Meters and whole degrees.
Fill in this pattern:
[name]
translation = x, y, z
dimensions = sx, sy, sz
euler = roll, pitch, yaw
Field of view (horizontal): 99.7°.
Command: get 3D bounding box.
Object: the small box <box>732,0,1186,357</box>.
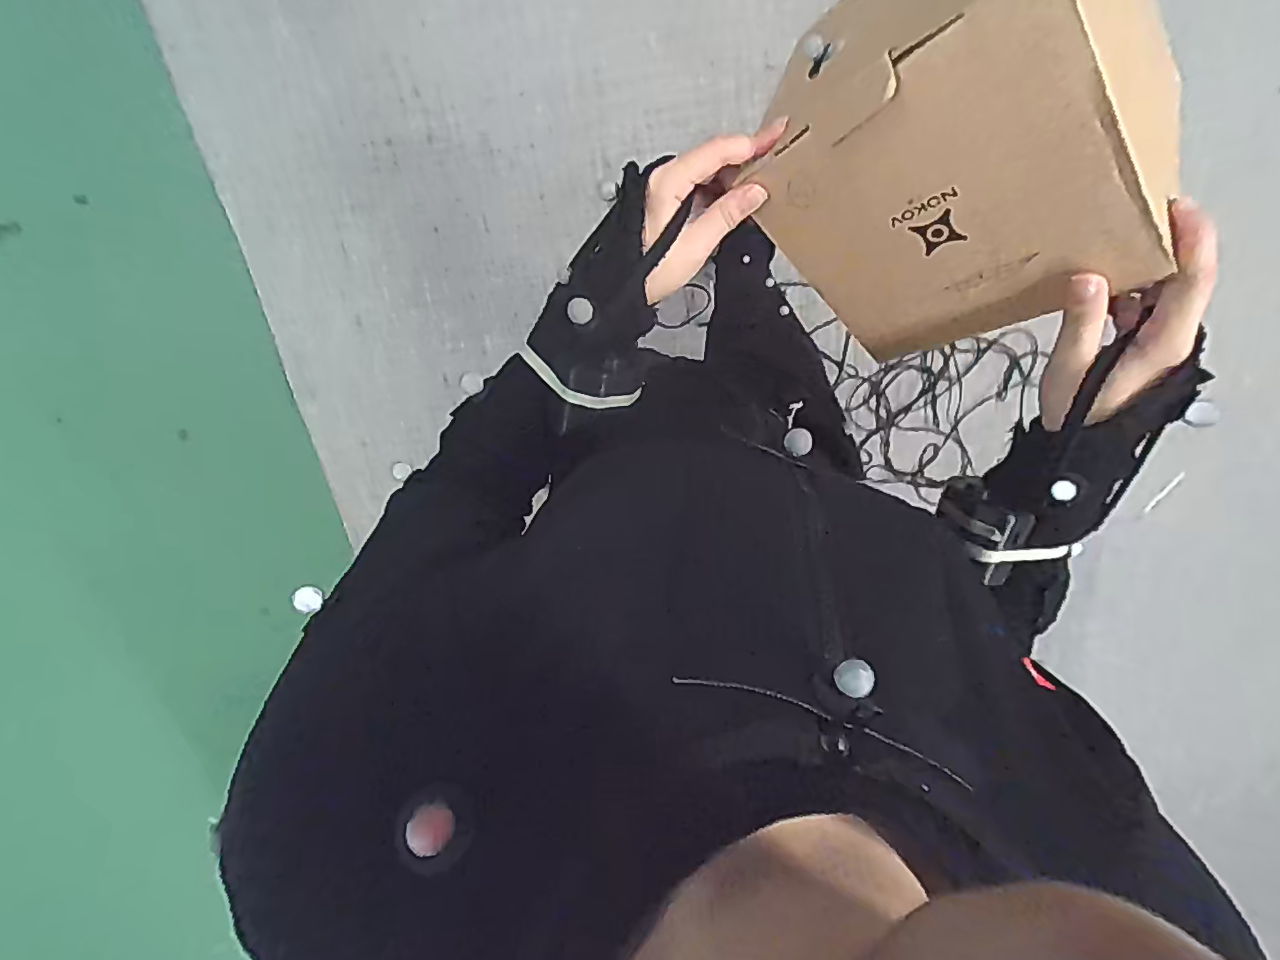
[small box]
translation = 0.190, -0.212, 0.326
dimensions = 0.179, 0.168, 0.176
euler = 33, 66, -26
